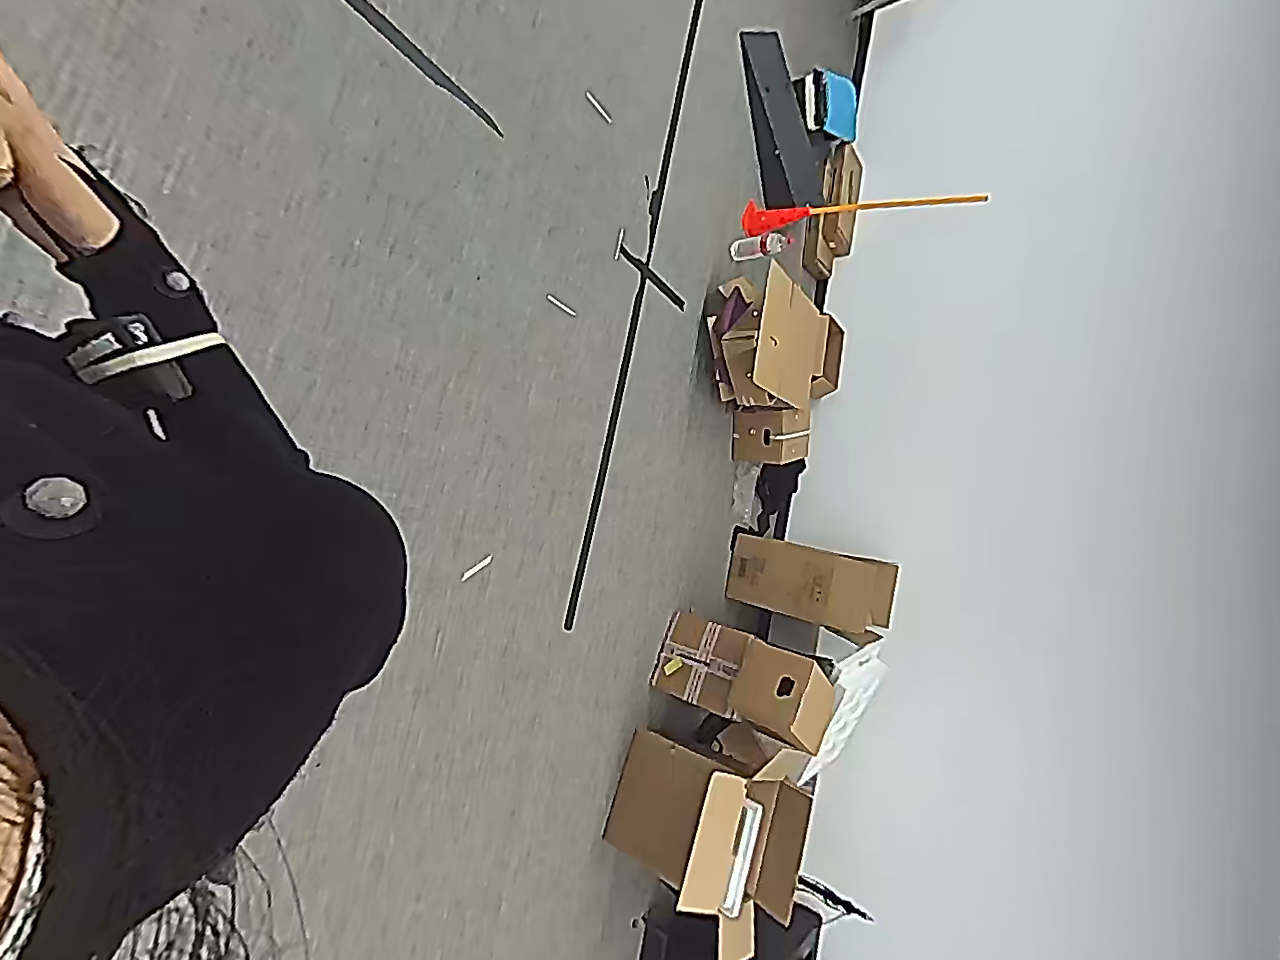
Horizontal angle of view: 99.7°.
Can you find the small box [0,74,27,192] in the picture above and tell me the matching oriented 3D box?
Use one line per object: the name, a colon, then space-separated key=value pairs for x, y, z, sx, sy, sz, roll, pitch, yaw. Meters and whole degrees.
small box: x=-0.411 y=-0.223 z=0.220 sx=0.168 sy=0.176 sz=0.179 roll=-25 pitch=122 yaw=-54
